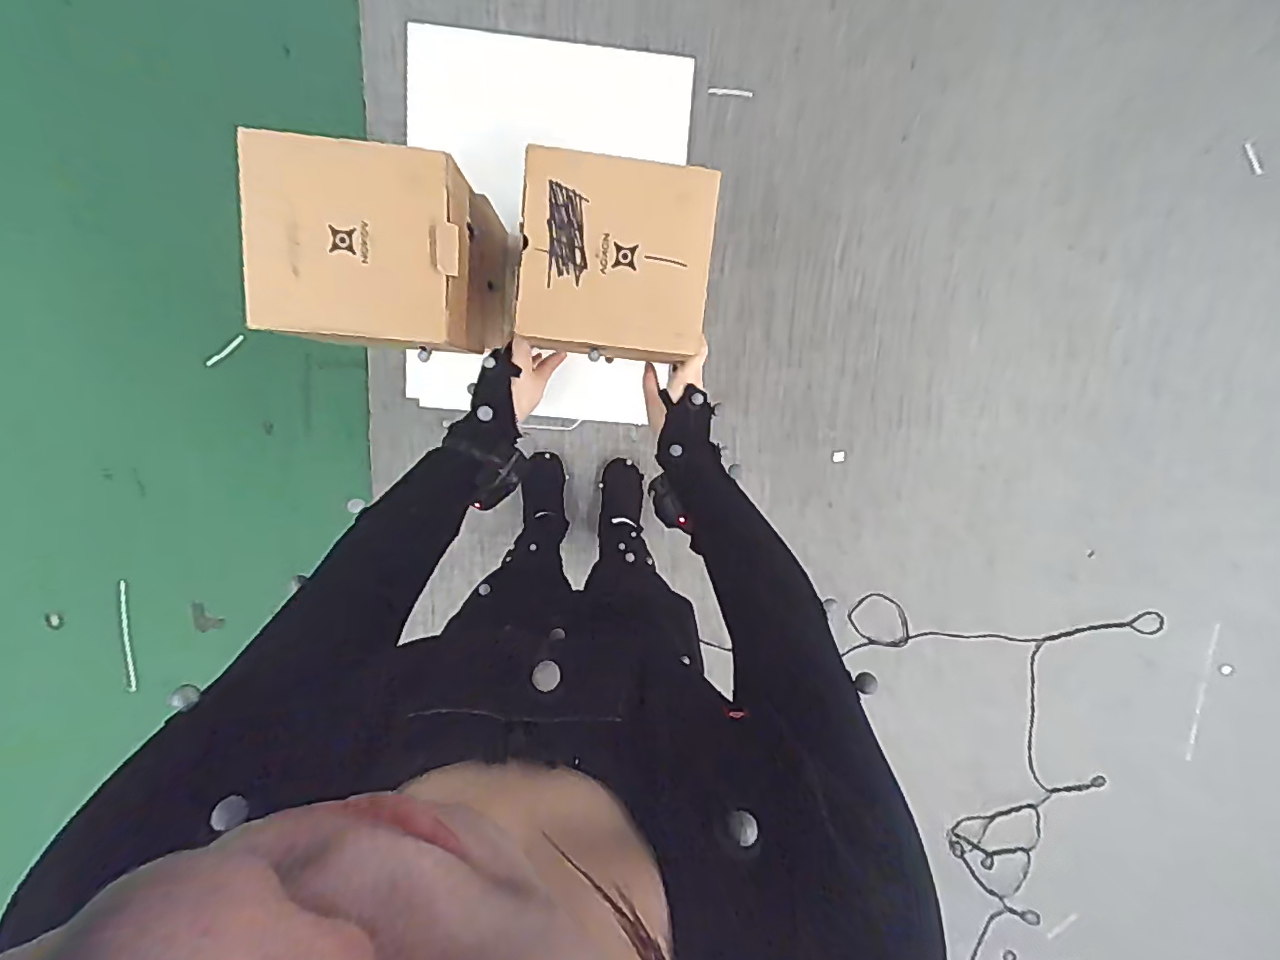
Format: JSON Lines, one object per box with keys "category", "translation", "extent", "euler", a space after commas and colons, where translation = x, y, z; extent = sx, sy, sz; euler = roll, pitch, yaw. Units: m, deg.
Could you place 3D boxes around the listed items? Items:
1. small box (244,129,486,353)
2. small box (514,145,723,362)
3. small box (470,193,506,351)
{"category": "small box", "translation": [-0.260, -0.223, 0.553], "extent": [0.179, 0.176, 0.168], "euler": [3, 99, -5]}
{"category": "small box", "translation": [-0.025, -0.218, 0.569], "extent": [0.179, 0.176, 0.168], "euler": [6, 99, -5]}
{"category": "small box", "translation": [-0.272, -0.267, 0.710], "extent": [0.168, 0.176, 0.179], "euler": [4, 100, -7]}
